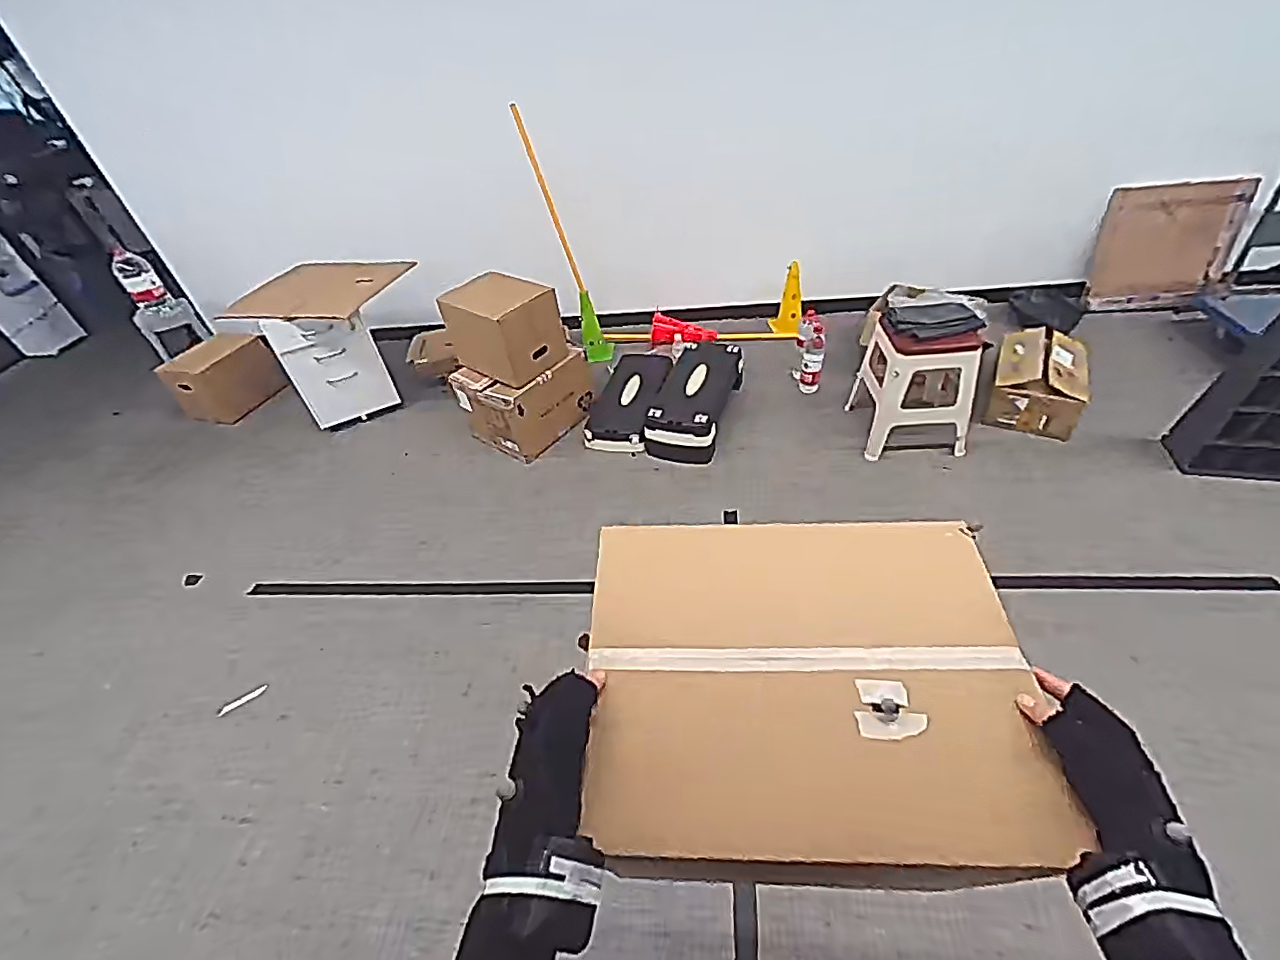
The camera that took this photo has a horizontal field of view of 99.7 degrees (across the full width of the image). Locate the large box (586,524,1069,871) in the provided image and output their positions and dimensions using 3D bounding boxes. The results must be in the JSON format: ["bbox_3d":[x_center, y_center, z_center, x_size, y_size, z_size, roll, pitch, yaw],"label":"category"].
[{"bbox_3d":[0.160,0.270,0.652,0.408,0.320,0.320,-2,52,4],"label":"large box"}]
